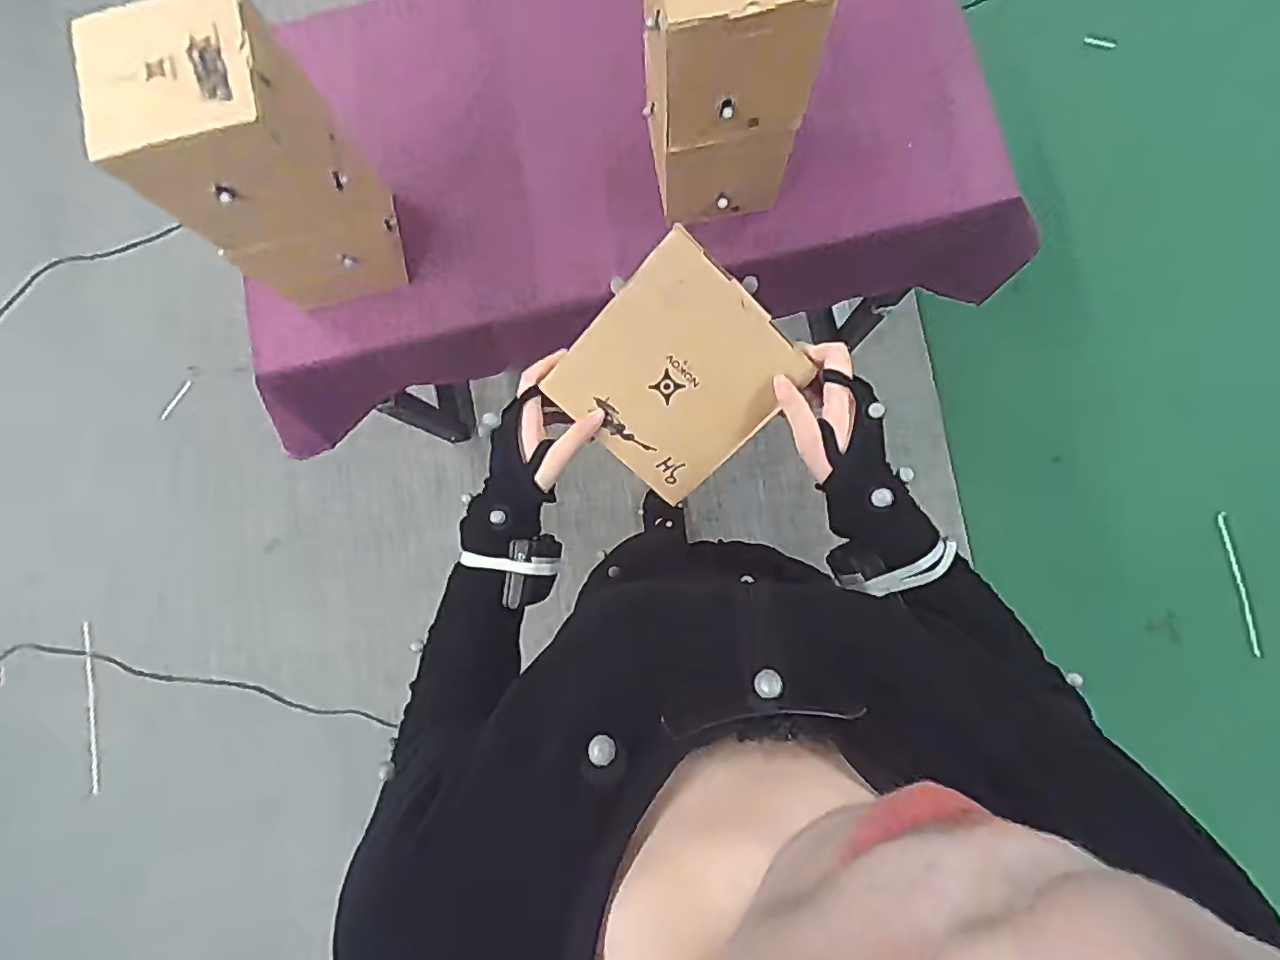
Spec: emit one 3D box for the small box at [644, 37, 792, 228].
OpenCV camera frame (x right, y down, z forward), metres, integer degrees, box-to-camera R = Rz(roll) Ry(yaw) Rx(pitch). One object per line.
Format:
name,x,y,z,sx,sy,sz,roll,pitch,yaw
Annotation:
small box,0.100,-0.492,0.761,0.168,0.176,0.179,-10,84,3

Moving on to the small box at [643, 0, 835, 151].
small box,0.094,-0.511,0.599,0.168,0.176,0.179,-10,84,2

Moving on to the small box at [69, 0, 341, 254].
small box,-0.470,-0.390,0.614,0.179,0.176,0.168,-14,83,1
